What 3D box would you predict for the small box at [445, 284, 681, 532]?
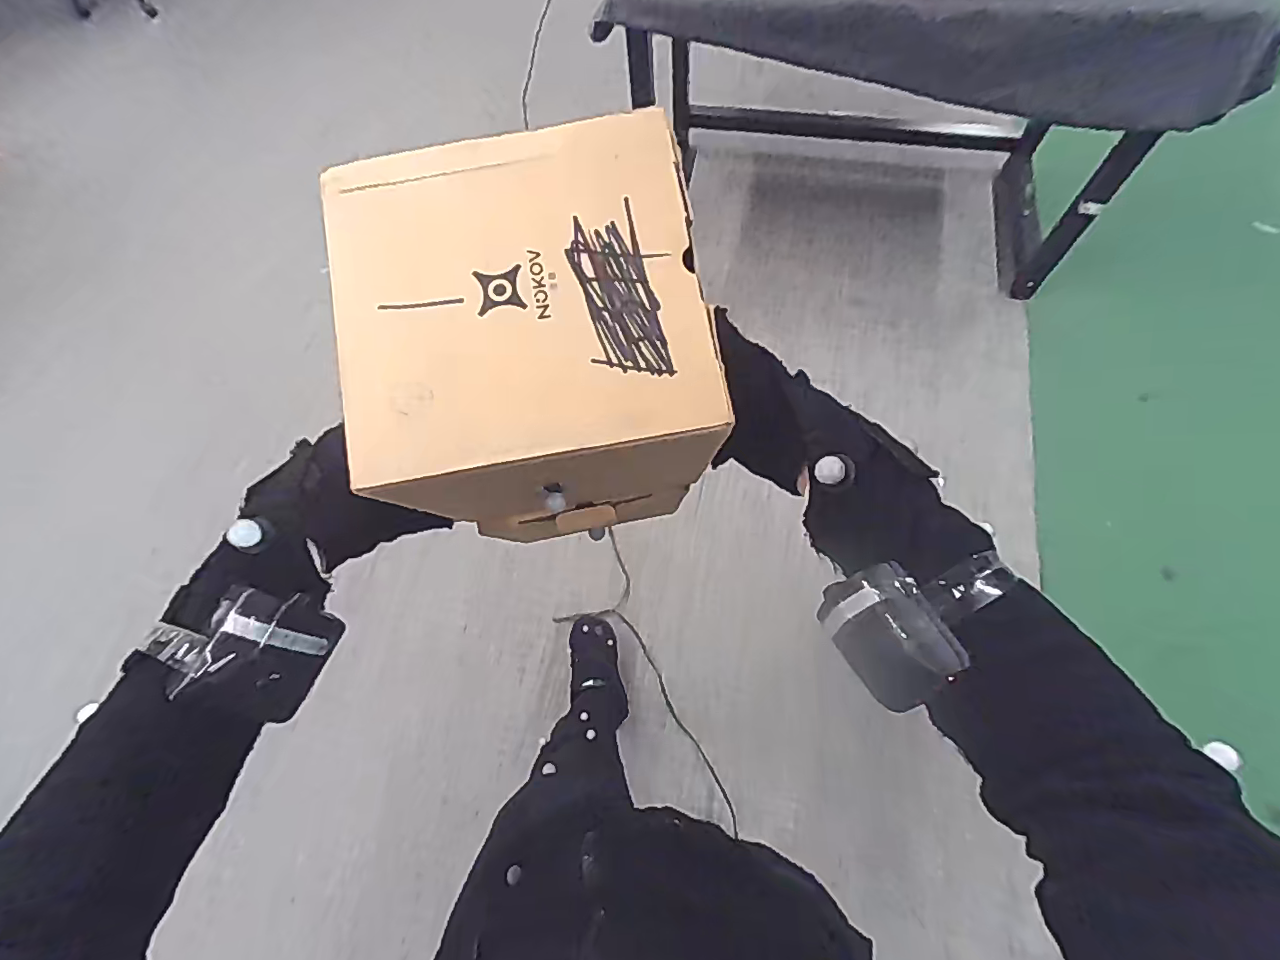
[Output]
[{"bbox_3d":[-0.062,-0.049,0.503,0.168,0.176,0.179,-11,81,-2],"label":"small box"}]
